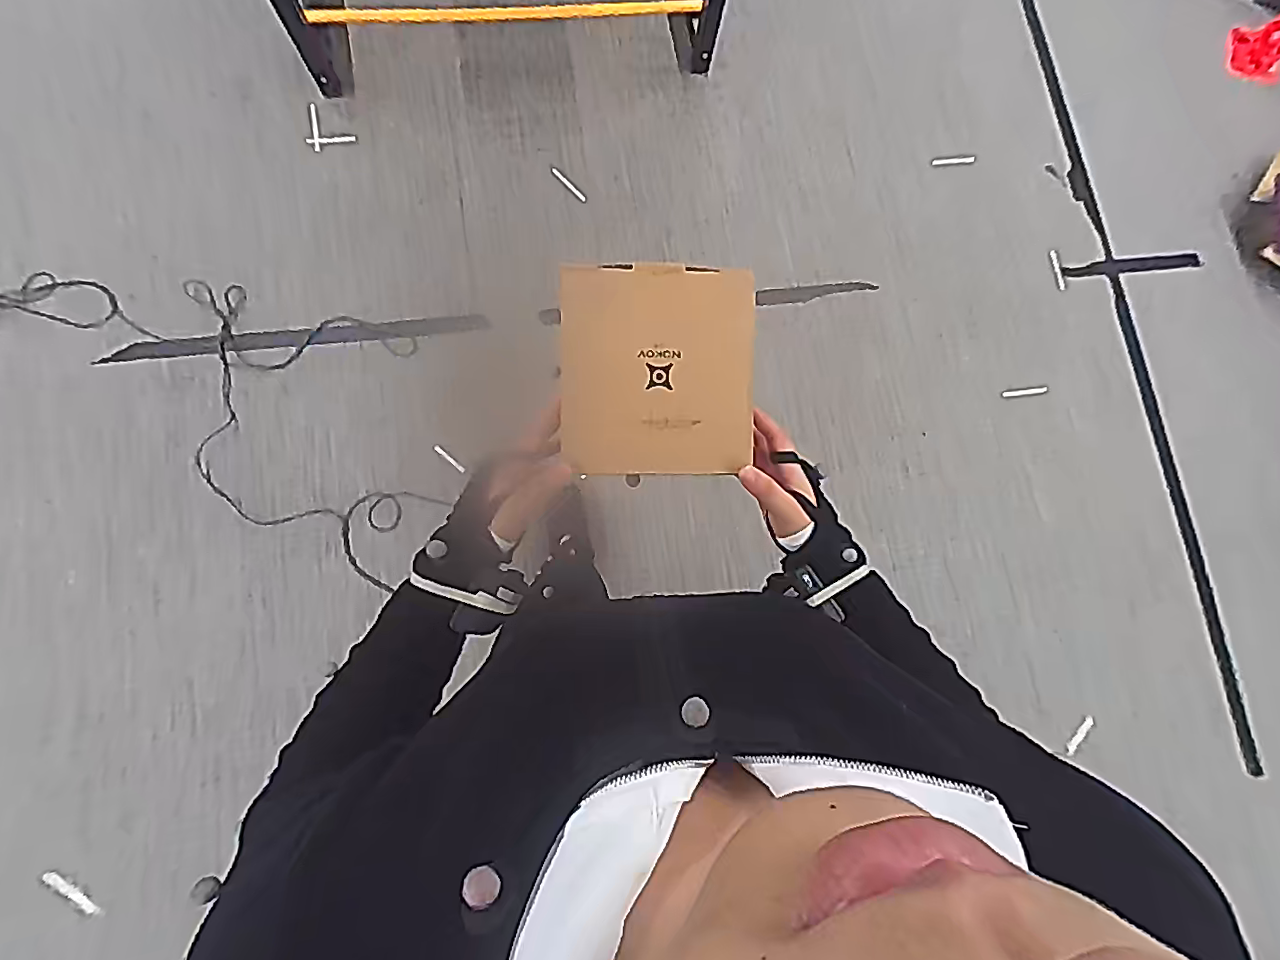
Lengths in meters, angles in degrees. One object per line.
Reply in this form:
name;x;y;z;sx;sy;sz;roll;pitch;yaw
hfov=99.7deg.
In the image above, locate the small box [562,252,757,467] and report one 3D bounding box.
small box;0.010;-0.103;0.533;0.168;0.176;0.179;0;93;-5
